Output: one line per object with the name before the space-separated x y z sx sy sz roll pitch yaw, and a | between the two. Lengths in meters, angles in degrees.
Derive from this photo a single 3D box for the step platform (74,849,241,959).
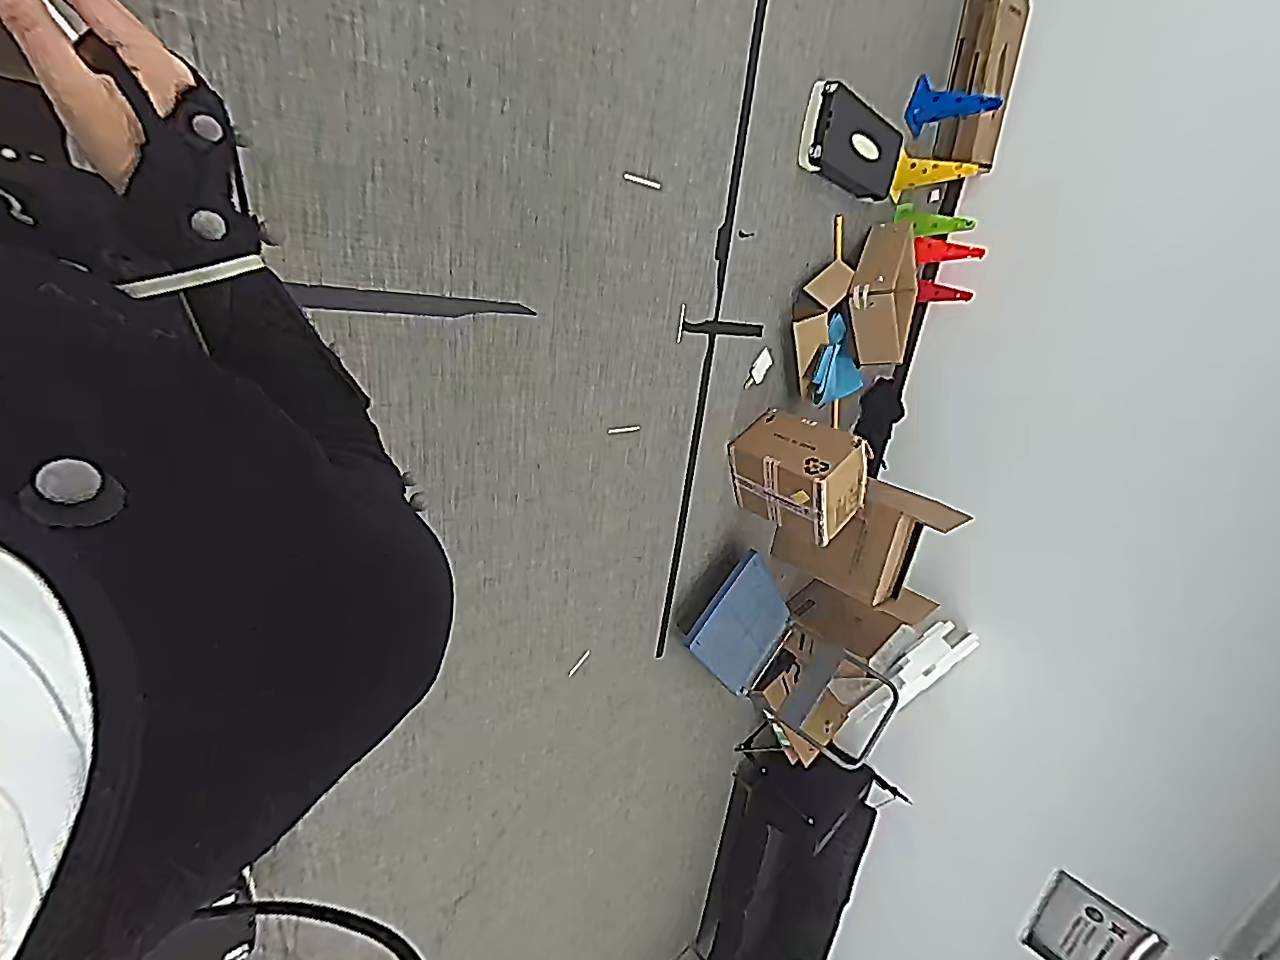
step platform | -1.308 1.170 1.195 0.684 0.204 0.286 -13 119 -44

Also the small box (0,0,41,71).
small box | -0.397 -0.324 0.233 0.168 0.176 0.179 -11 112 -43
